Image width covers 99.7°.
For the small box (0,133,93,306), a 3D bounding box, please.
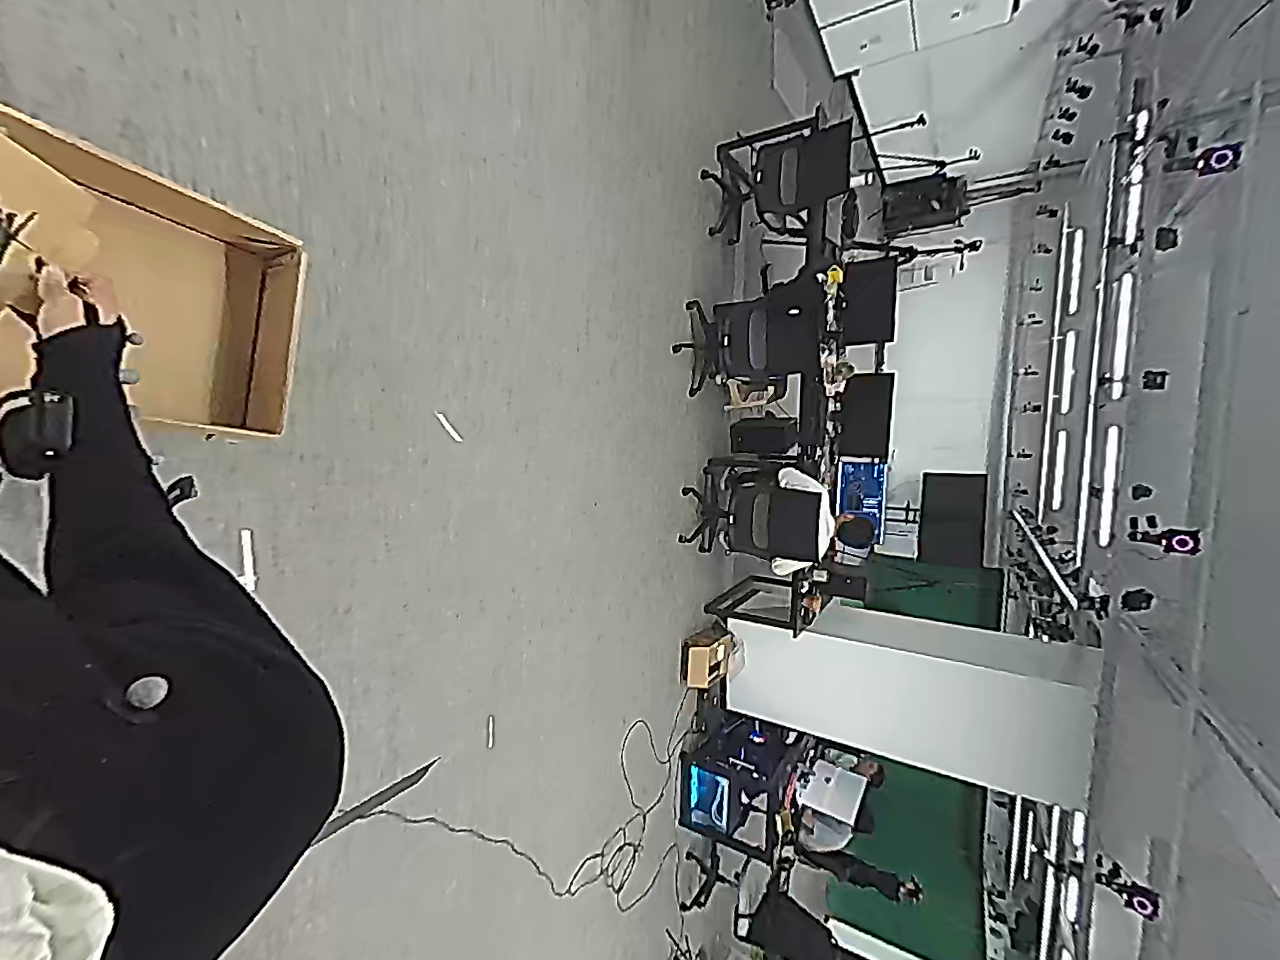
[{"bbox_3d":[-0.690,-0.274,0.503,0.168,0.176,0.179,-64,147,-14],"label":"small box"}]
